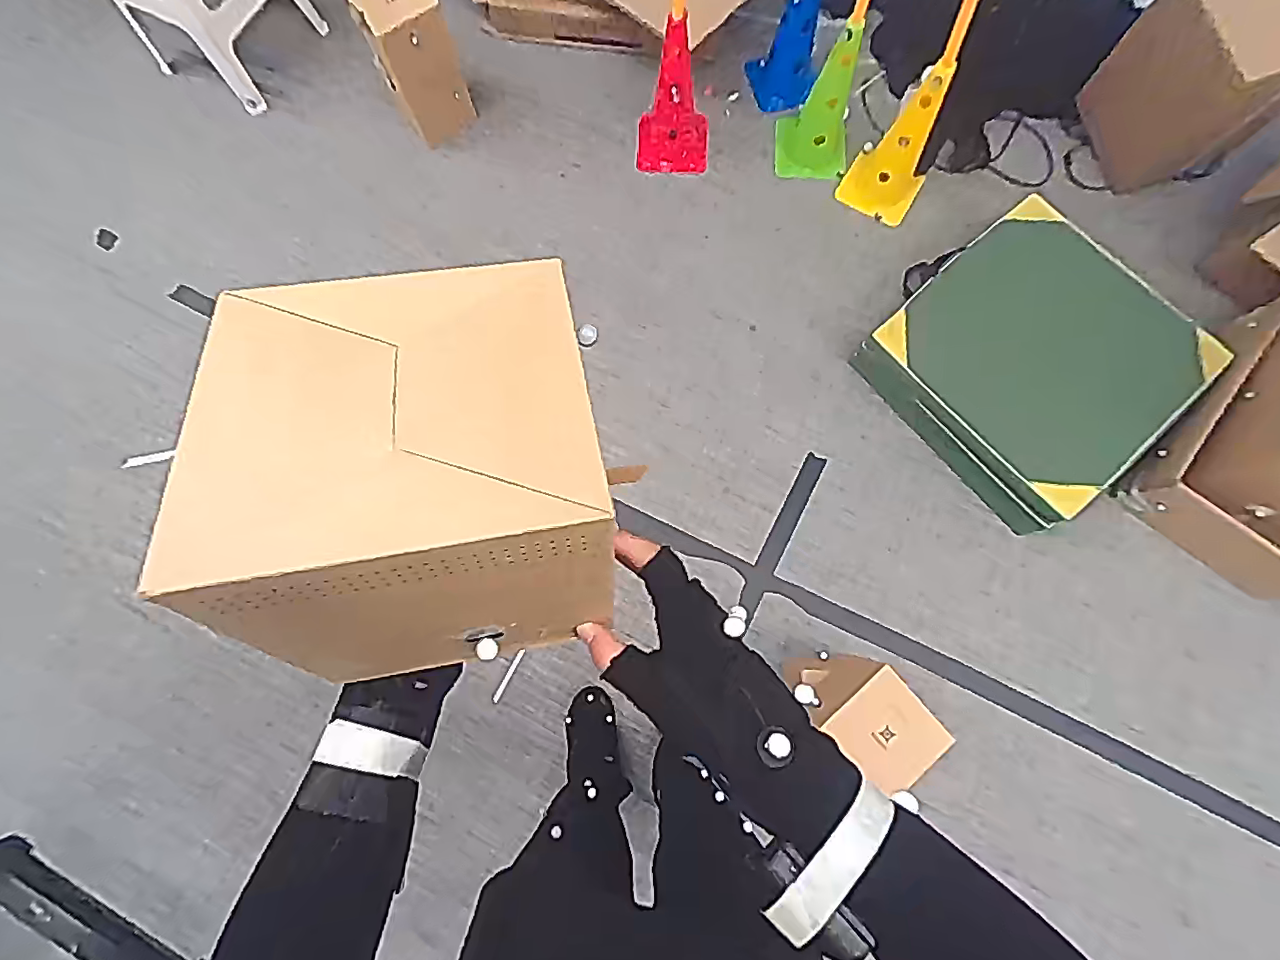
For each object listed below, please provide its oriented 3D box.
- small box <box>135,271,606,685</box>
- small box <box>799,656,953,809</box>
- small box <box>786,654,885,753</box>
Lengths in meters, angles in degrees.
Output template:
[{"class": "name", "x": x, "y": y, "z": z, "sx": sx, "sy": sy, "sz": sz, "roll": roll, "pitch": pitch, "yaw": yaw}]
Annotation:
[{"class": "small box", "x": -0.120, "y": 0.004, "z": 0.312, "sx": 0.179, "sy": 0.176, "sz": 0.168, "roll": -9, "pitch": 60, "yaw": -9}, {"class": "small box", "x": 0.416, "y": 0.448, "z": 0.993, "sx": 0.179, "sy": 0.176, "sz": 0.168, "roll": -39, "pitch": 81, "yaw": -7}, {"class": "small box", "x": 0.420, "y": 0.470, "z": 1.157, "sx": 0.179, "sy": 0.176, "sz": 0.168, "roll": -6, "pitch": 77, "yaw": -1}]
